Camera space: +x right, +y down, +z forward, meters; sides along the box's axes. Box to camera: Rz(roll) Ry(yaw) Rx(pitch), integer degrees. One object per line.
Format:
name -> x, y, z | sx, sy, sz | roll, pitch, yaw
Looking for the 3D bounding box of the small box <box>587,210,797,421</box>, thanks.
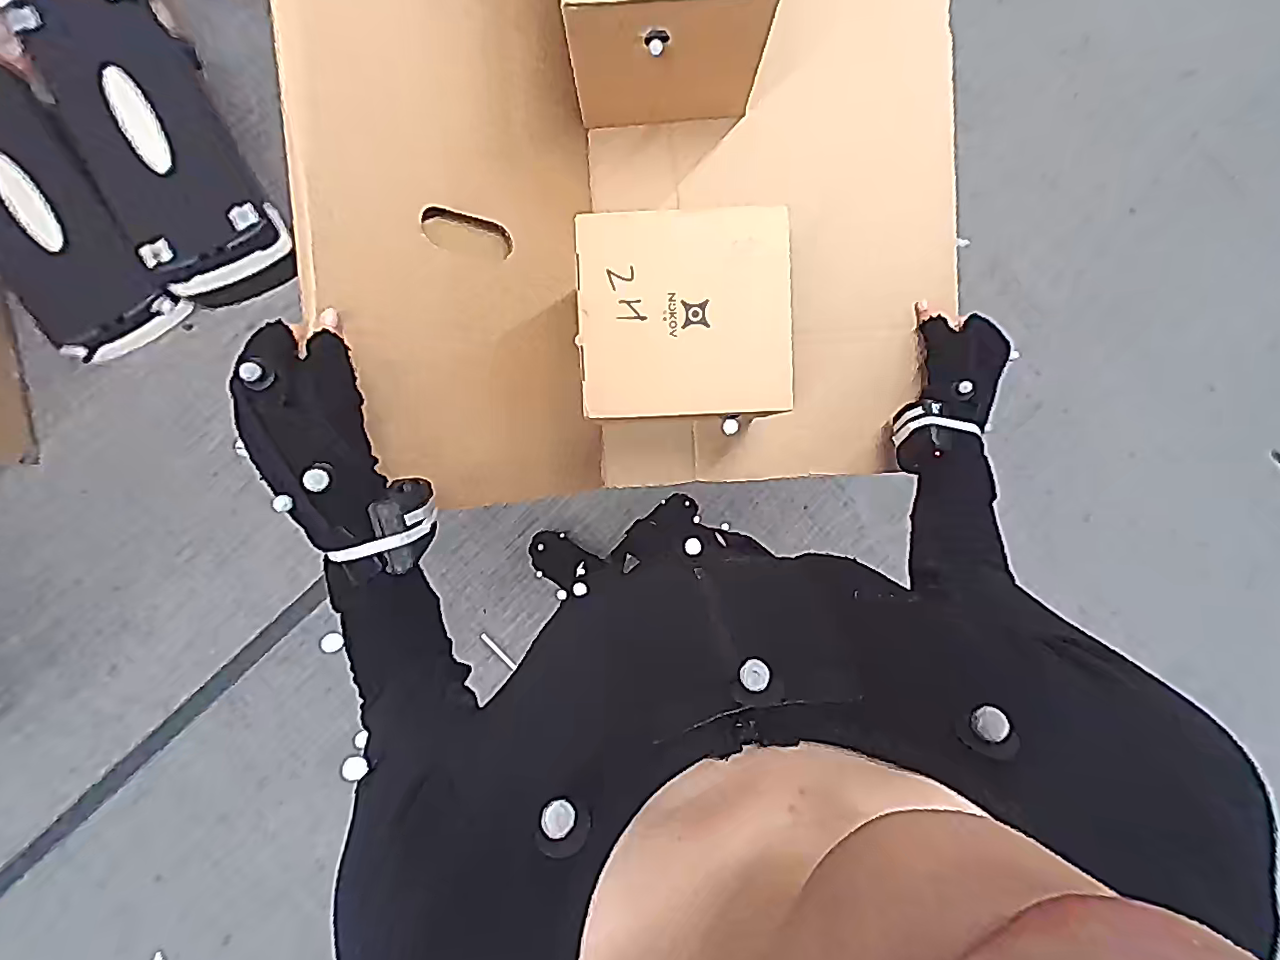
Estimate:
small box -> 0.043, -0.146, 0.530 | 0.179, 0.176, 0.168 | -1, 94, 1
